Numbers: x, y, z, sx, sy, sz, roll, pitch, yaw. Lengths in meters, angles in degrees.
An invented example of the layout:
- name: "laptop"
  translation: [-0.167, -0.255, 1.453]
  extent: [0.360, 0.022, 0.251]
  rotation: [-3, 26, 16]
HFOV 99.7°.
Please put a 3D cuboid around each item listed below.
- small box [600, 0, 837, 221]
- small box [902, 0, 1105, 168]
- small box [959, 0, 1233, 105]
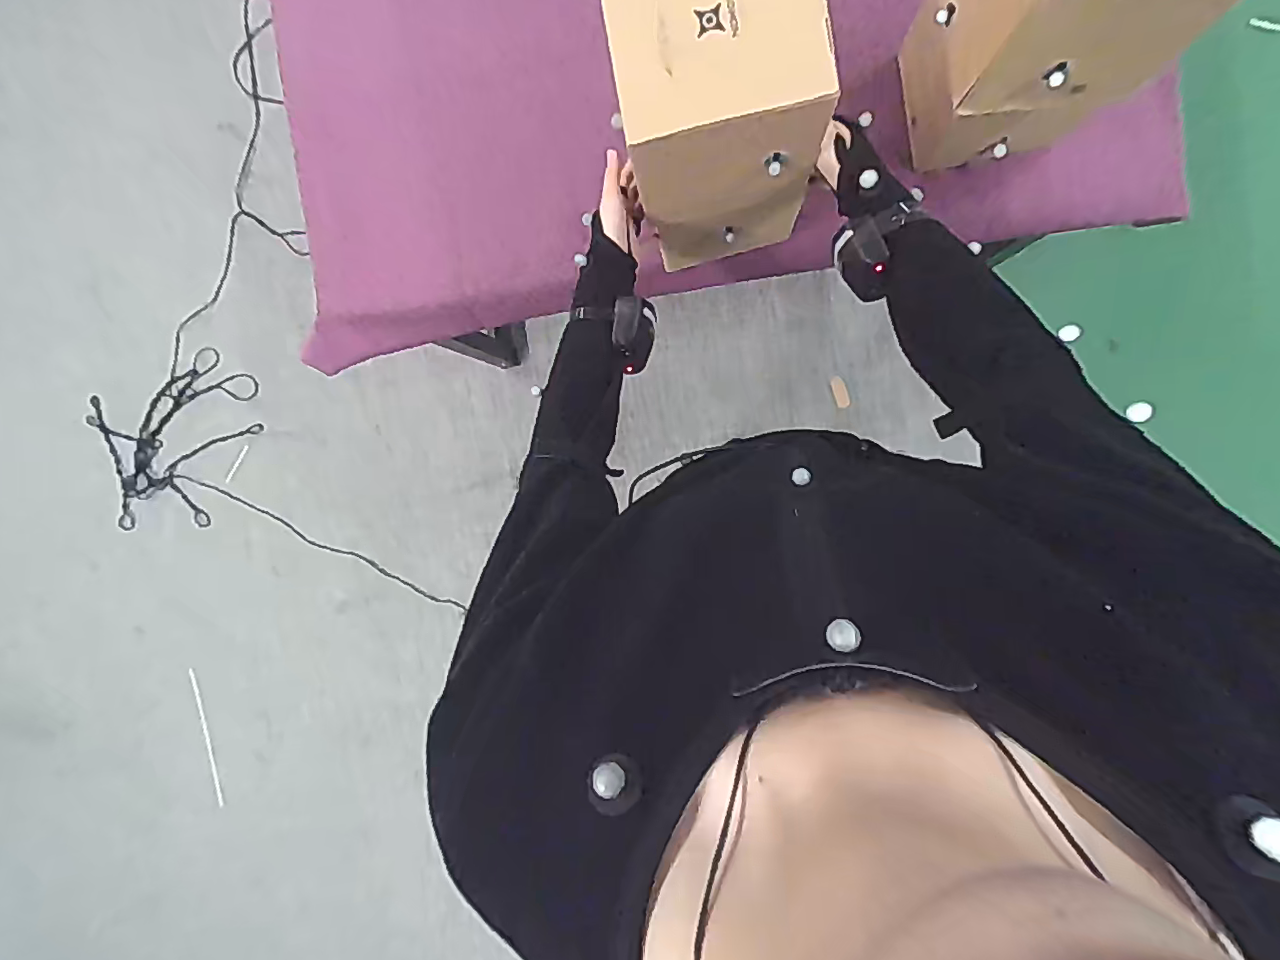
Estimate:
- name: "small box"
  translation: [0.067, -0.373, 0.507]
  extent: [0.179, 0.176, 0.168]
  rotation: [-9, 90, 8]
- name: "small box"
  translation: [0.429, -0.496, 0.620]
  extent: [0.179, 0.176, 0.168]
  rotation: [-8, 90, 8]
- name: "small box"
  translation: [0.395, -0.467, 0.462]
  extent: [0.168, 0.176, 0.179]
  rotation: [0, 93, 9]
